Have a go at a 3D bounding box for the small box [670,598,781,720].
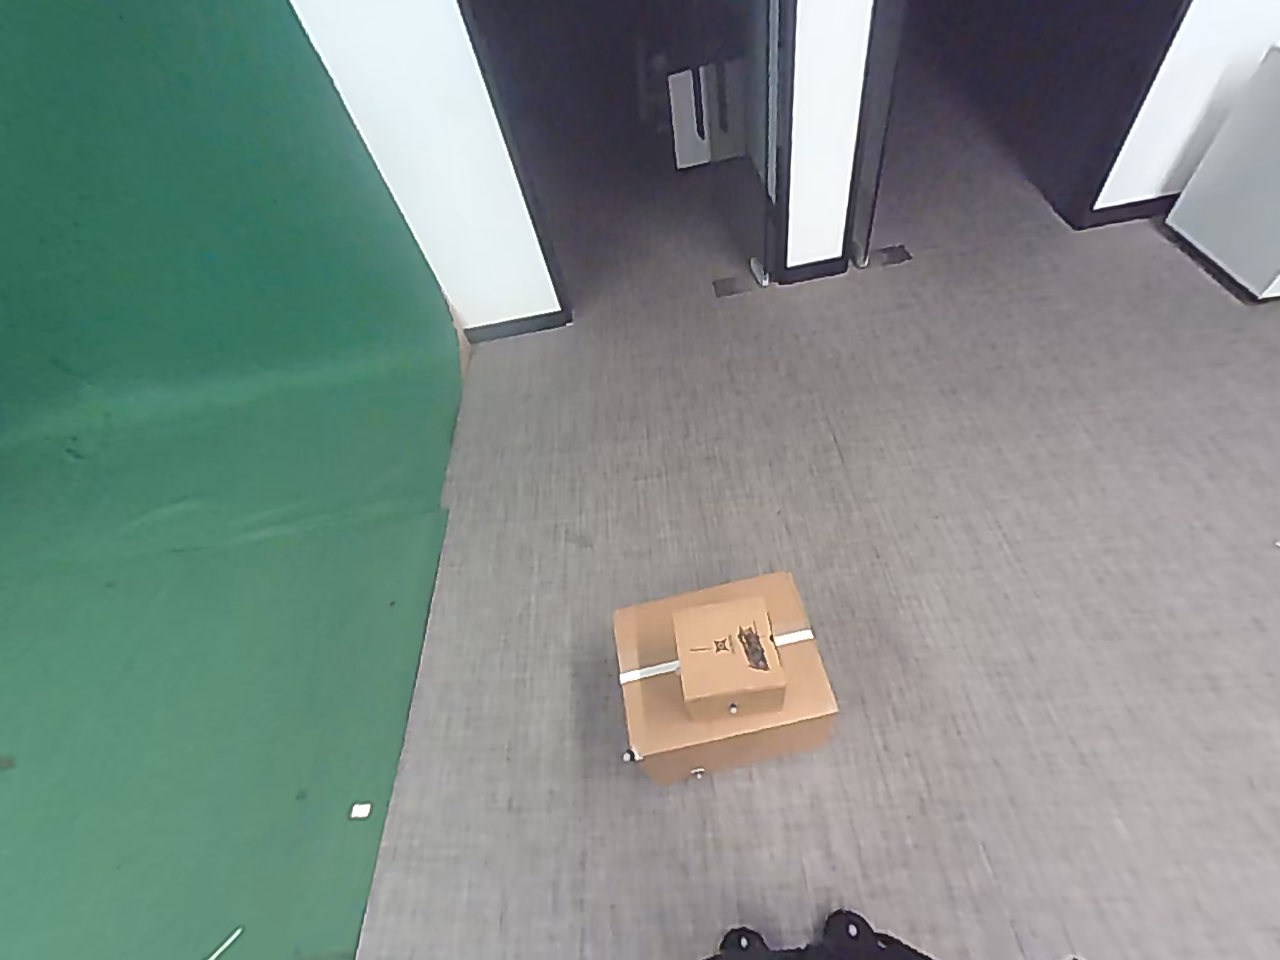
[{"bbox_3d":[0.161,0.346,1.033,0.179,0.176,0.168,-11,52,5],"label":"small box"}]
